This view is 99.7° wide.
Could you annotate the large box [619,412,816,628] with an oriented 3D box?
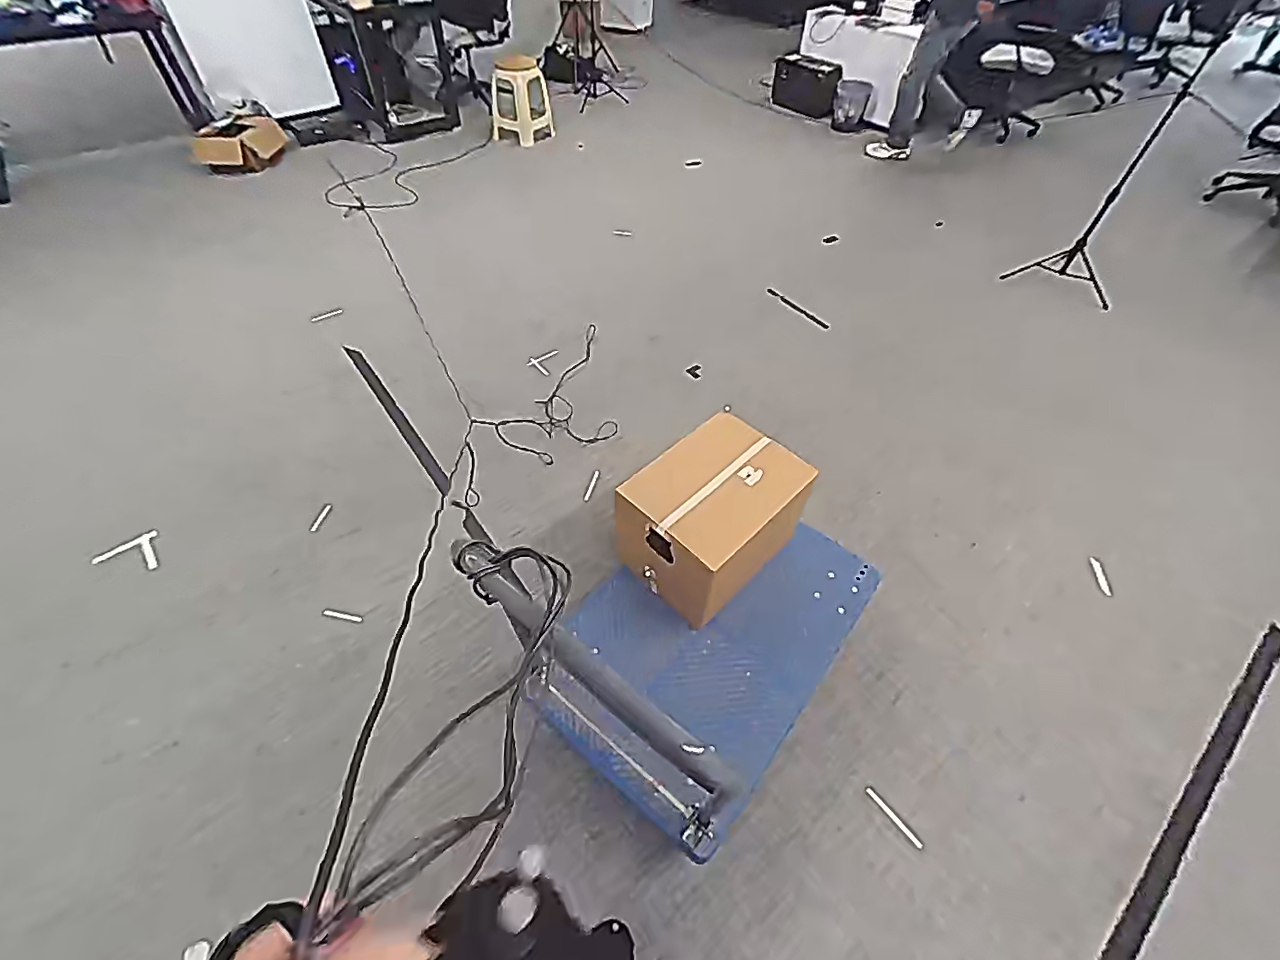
[{"bbox_3d":[0.189,0.101,1.416,0.408,0.320,0.320,-37,61,-28],"label":"large box"}]
